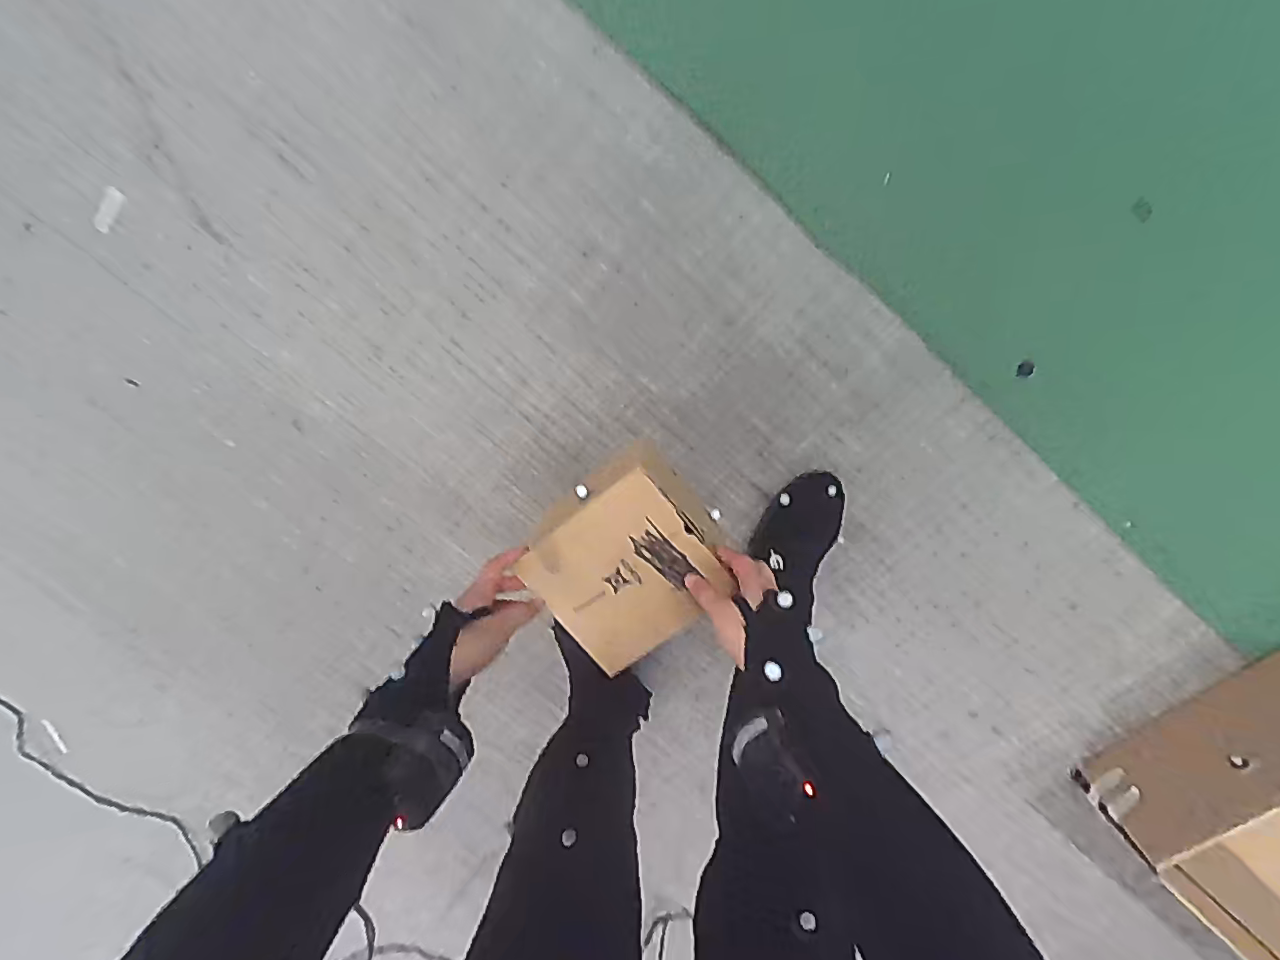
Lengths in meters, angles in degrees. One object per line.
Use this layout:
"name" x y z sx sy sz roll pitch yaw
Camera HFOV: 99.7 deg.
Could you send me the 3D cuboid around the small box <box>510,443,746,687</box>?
"small box" -0.011 0.080 0.601 0.179 0.176 0.168 -37 101 11
